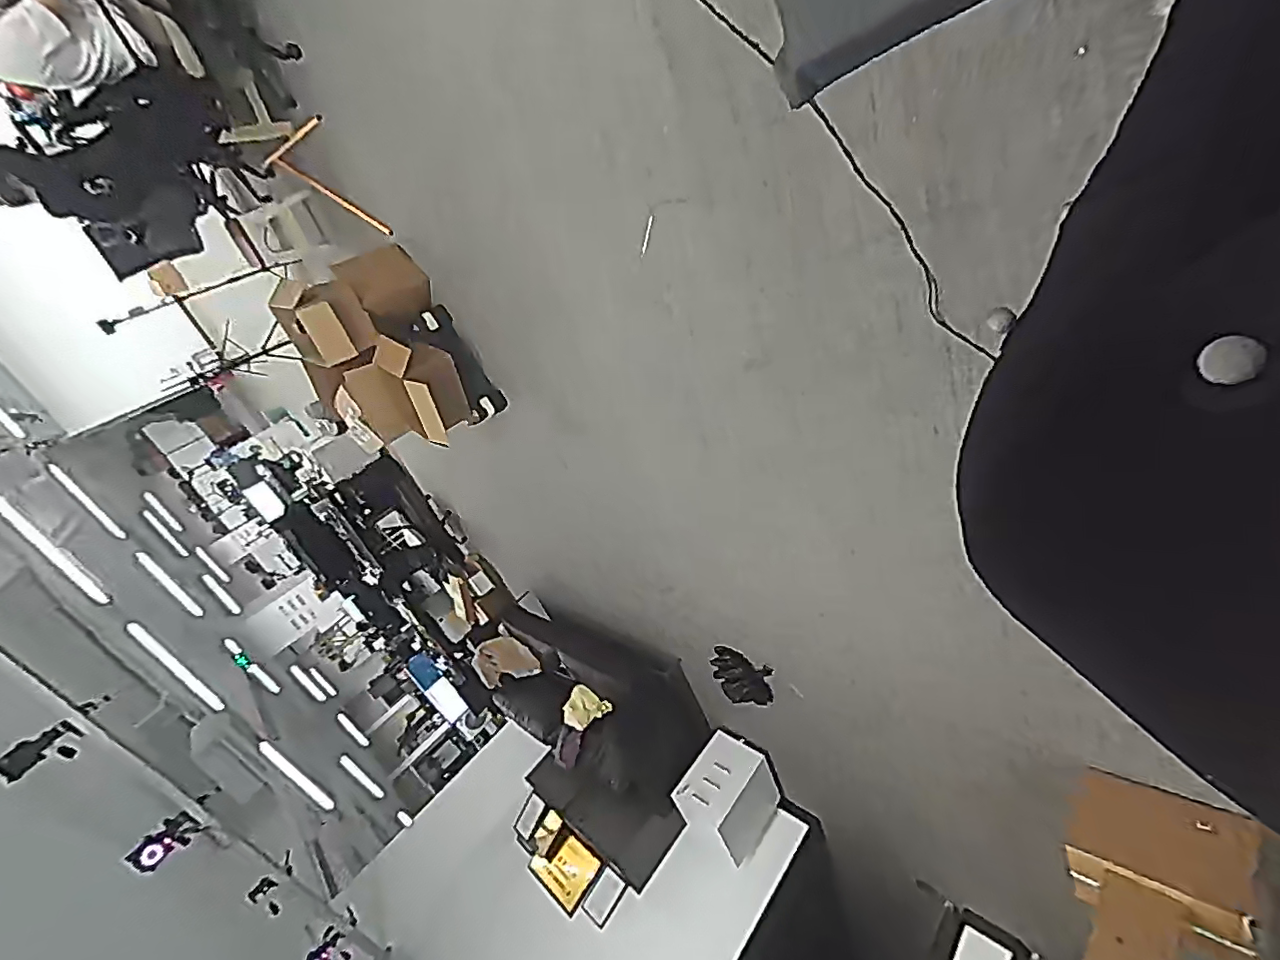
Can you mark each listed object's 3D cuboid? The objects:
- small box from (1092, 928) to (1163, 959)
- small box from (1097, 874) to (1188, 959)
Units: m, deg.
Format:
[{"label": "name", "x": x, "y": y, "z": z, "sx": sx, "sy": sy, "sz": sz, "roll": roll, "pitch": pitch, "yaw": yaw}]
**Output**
[{"label": "small box", "x": 1.363, "y": 1.403, "z": 1.492, "sx": 0.168, "sy": 0.176, "sz": 0.179, "roll": 1, "pitch": 123, "yaw": 50}, {"label": "small box", "x": 1.468, "y": 1.310, "z": 1.576, "sx": 0.179, "sy": 0.176, "sz": 0.168, "roll": 3, "pitch": 125, "yaw": 51}]
